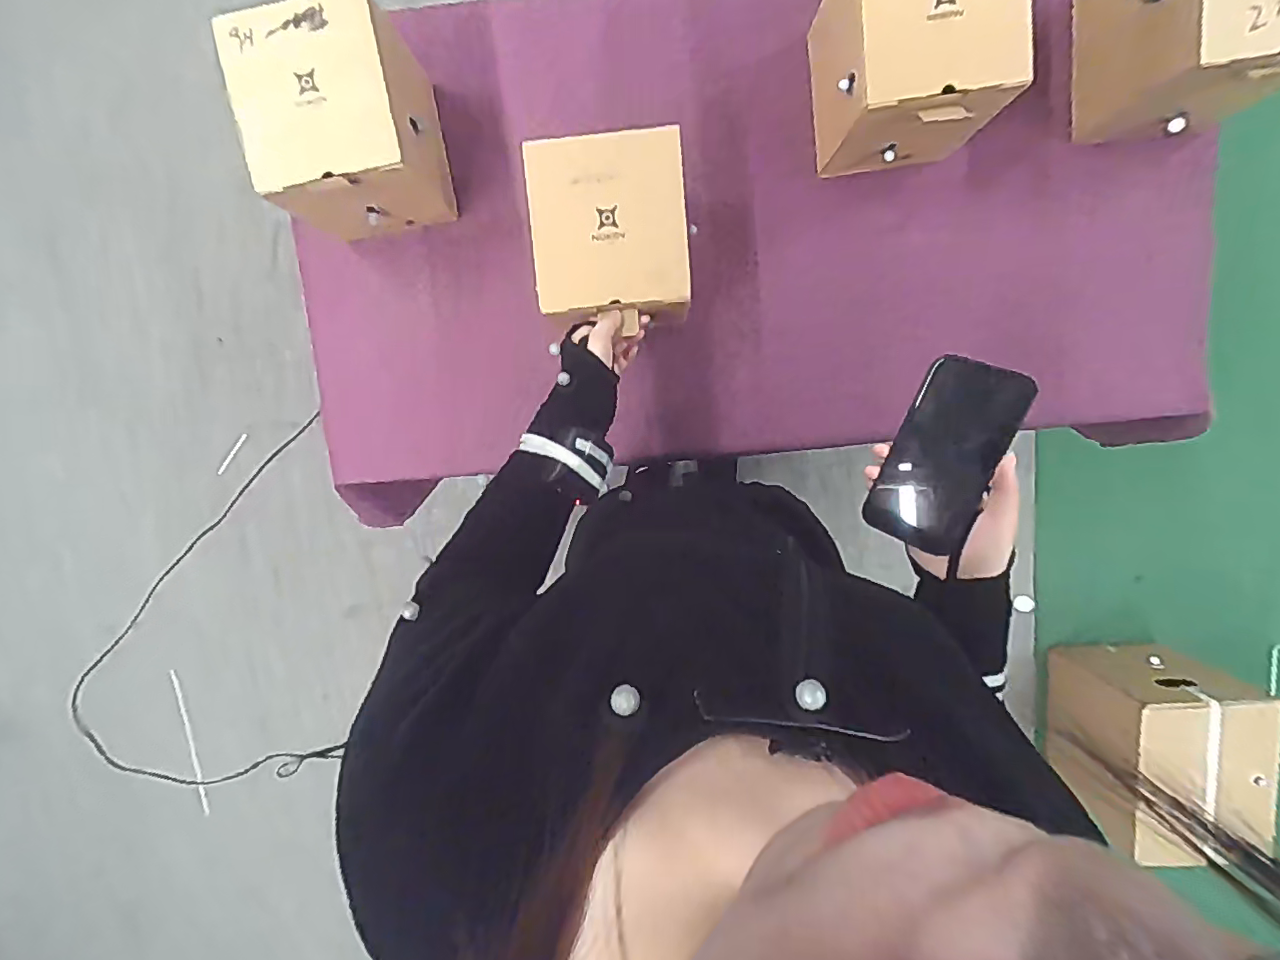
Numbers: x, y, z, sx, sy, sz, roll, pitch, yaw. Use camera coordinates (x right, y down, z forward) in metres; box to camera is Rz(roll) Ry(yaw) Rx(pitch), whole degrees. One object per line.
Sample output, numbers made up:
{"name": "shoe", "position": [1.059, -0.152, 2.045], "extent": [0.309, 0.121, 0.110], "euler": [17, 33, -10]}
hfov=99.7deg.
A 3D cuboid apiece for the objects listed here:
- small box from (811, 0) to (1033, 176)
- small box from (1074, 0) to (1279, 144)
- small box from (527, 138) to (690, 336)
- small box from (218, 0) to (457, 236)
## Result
{"name": "small box", "position": [0.300, -0.478, 0.609], "extent": [0.168, 0.176, 0.179], "euler": [-7, 98, 3]}
{"name": "small box", "position": [0.617, -0.505, 0.588], "extent": [0.168, 0.176, 0.179], "euler": [-5, 98, 4]}
{"name": "small box", "position": [-0.029, -0.272, 0.648], "extent": [0.168, 0.176, 0.179], "euler": [-4, 97, 2]}
{"name": "small box", "position": [-0.337, -0.406, 0.641], "extent": [0.168, 0.176, 0.179], "euler": [-10, 98, 3]}
